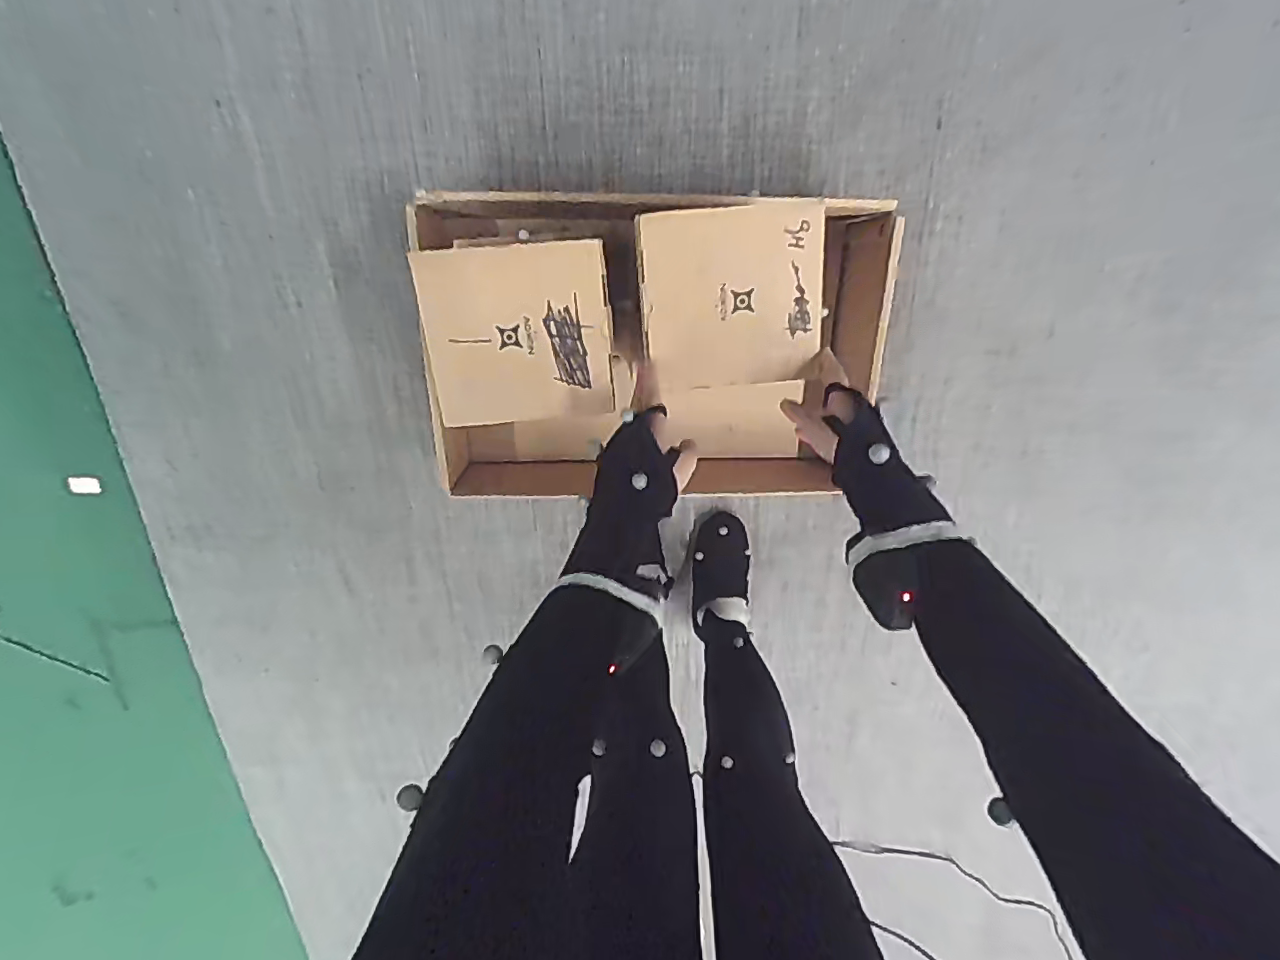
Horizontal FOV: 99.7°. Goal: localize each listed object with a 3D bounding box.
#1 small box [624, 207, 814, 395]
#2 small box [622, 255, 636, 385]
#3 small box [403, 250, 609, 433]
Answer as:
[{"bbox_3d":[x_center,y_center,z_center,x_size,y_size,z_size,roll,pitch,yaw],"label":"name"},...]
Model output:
[{"bbox_3d":[0.076,-0.194,0.595,0.179,0.176,0.168,-5,110,0],"label":"small box"},{"bbox_3d":[0.059,-0.233,0.754,0.168,0.176,0.179,-1,111,-2],"label":"small box"},{"bbox_3d":[-0.130,-0.159,0.594,0.179,0.176,0.168,-5,111,-2],"label":"small box"}]
